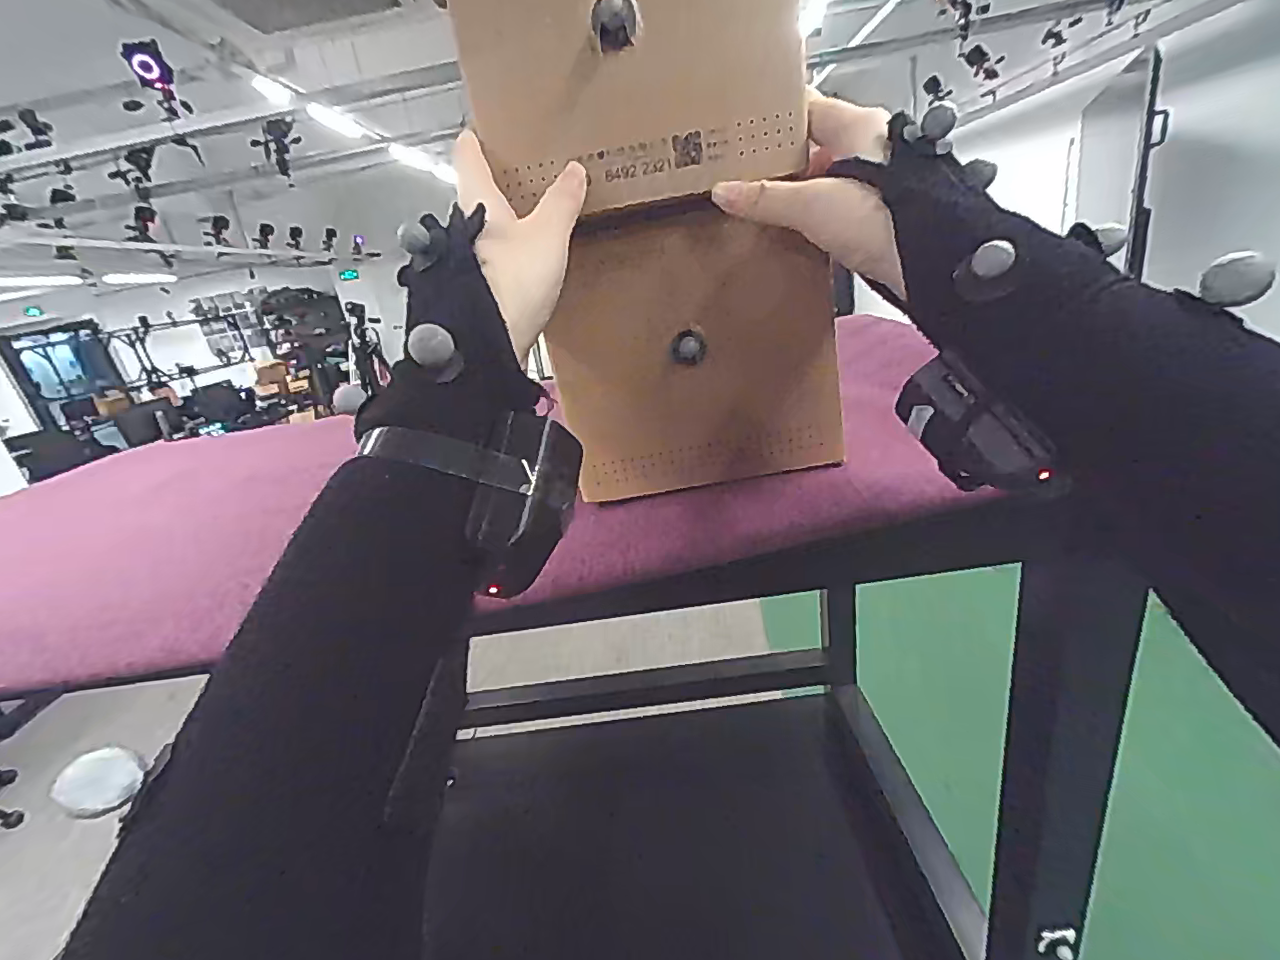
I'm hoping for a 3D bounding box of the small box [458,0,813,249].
[{"bbox_3d":[0.000,-0.246,0.328,0.168,0.176,0.179,-8,19,4],"label":"small box"}]
